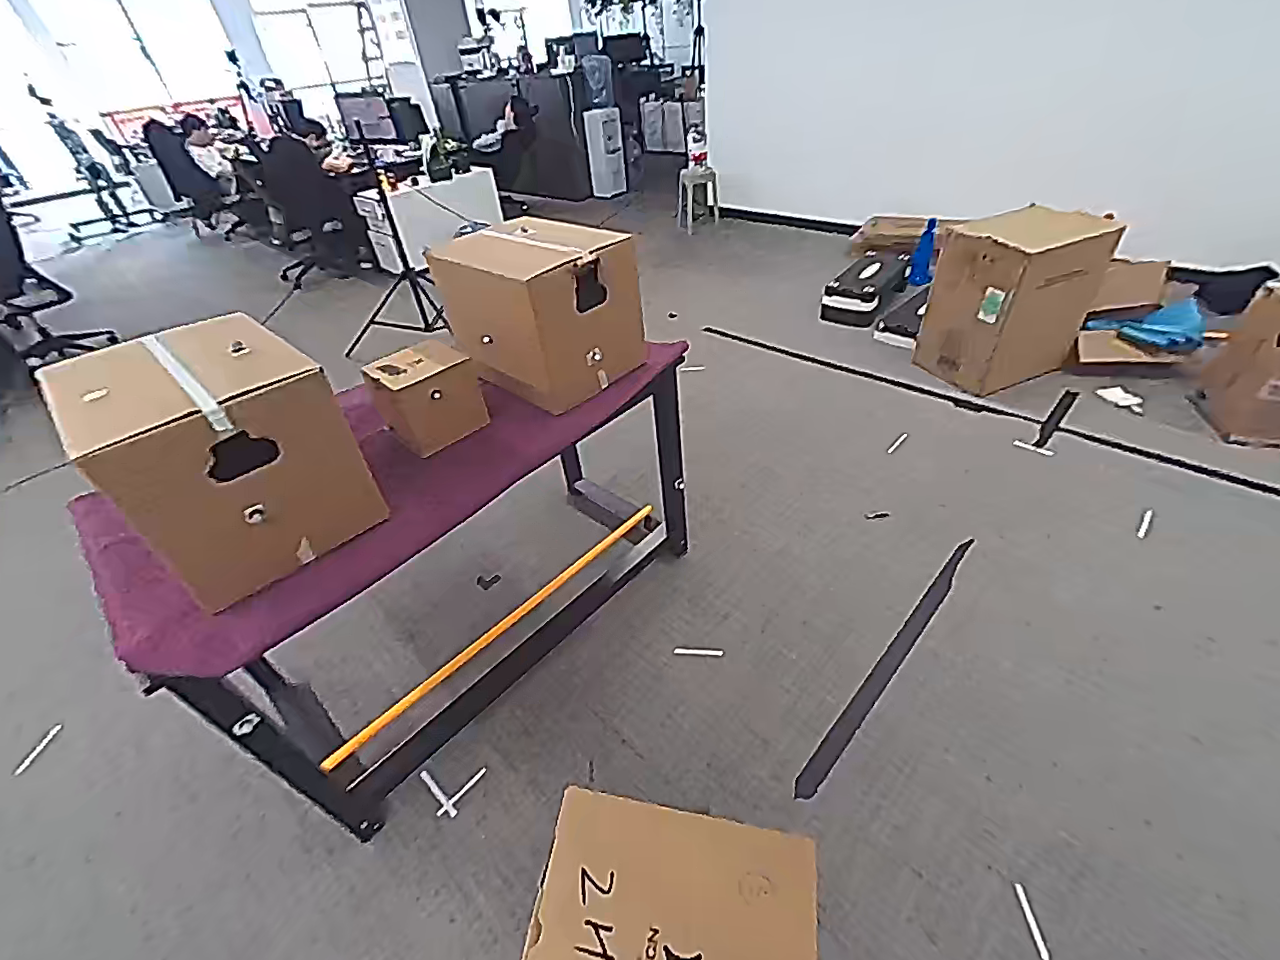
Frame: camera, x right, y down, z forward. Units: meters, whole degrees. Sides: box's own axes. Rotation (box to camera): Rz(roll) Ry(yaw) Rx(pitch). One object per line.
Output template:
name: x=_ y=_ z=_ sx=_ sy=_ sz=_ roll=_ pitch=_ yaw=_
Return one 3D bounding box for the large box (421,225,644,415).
large box: x=-0.247 y=-0.402 z=1.316 sx=0.408 sy=0.320 sz=0.320 roll=26 pitch=49 yaw=35
